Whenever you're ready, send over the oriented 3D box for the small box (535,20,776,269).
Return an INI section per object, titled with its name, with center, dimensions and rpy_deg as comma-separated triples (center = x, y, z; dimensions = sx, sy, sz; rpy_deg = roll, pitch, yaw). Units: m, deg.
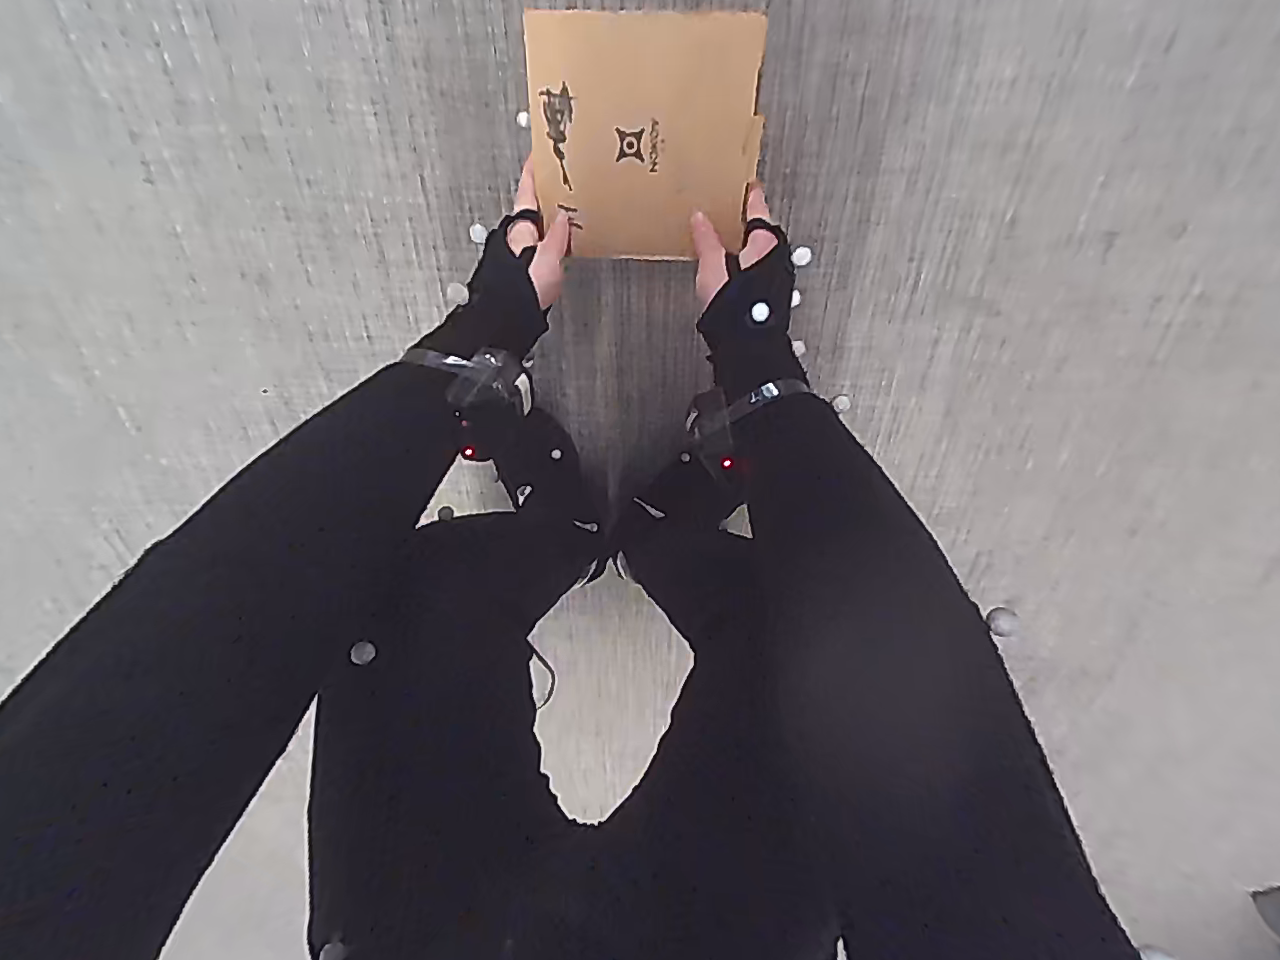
[small box]
center = 0.011, -0.296, 0.494
dimensions = 0.179, 0.176, 0.168
rpy_deg = 2, 120, 1
